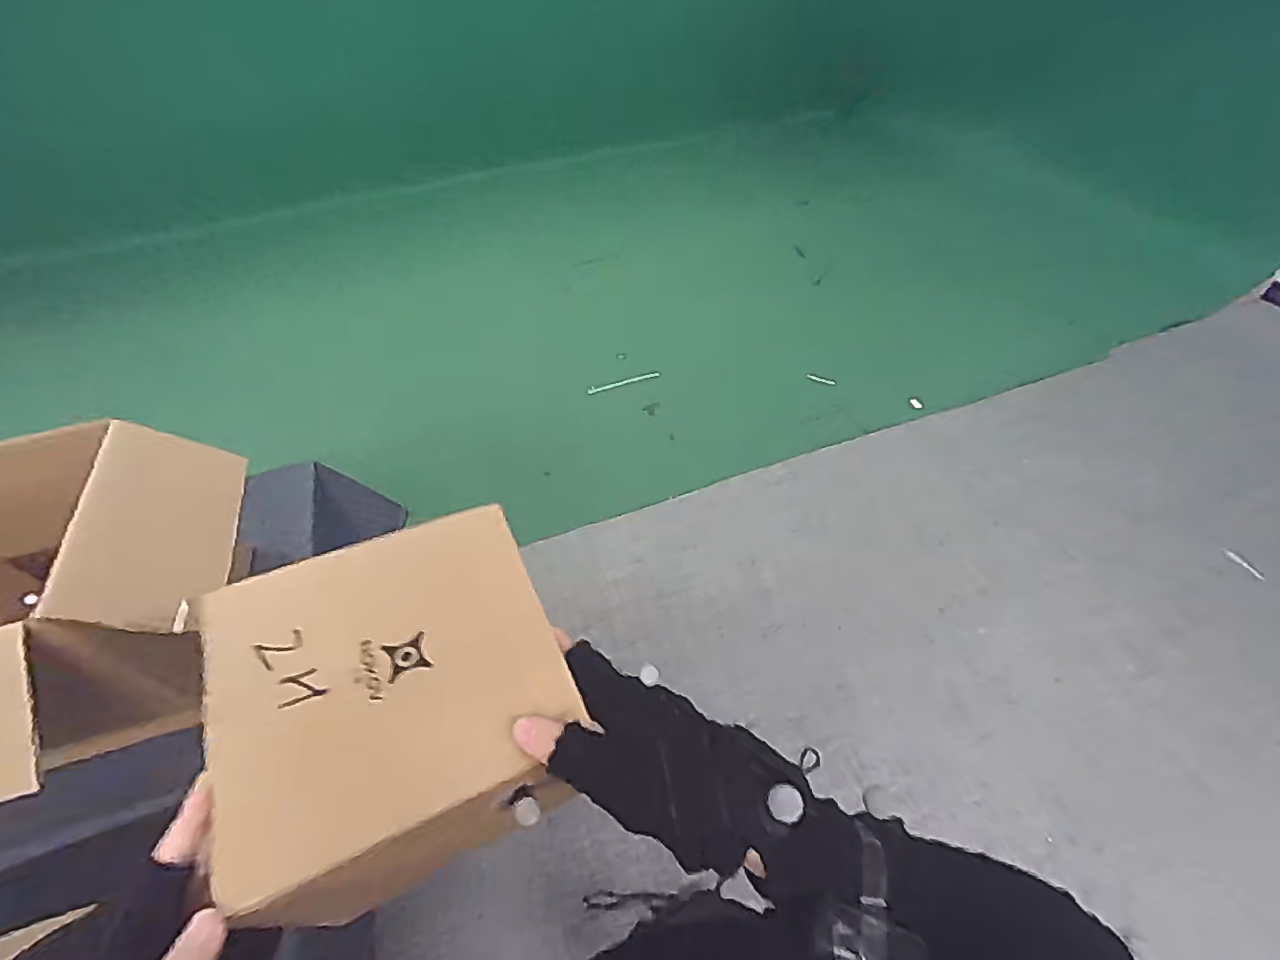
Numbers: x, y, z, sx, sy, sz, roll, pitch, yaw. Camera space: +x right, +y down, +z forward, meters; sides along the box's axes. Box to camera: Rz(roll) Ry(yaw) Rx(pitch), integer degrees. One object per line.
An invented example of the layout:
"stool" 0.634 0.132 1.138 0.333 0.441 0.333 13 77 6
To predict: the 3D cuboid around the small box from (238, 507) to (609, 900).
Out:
"small box" -0.137 0.150 0.369 0.179 0.176 0.168 -17 55 -21
